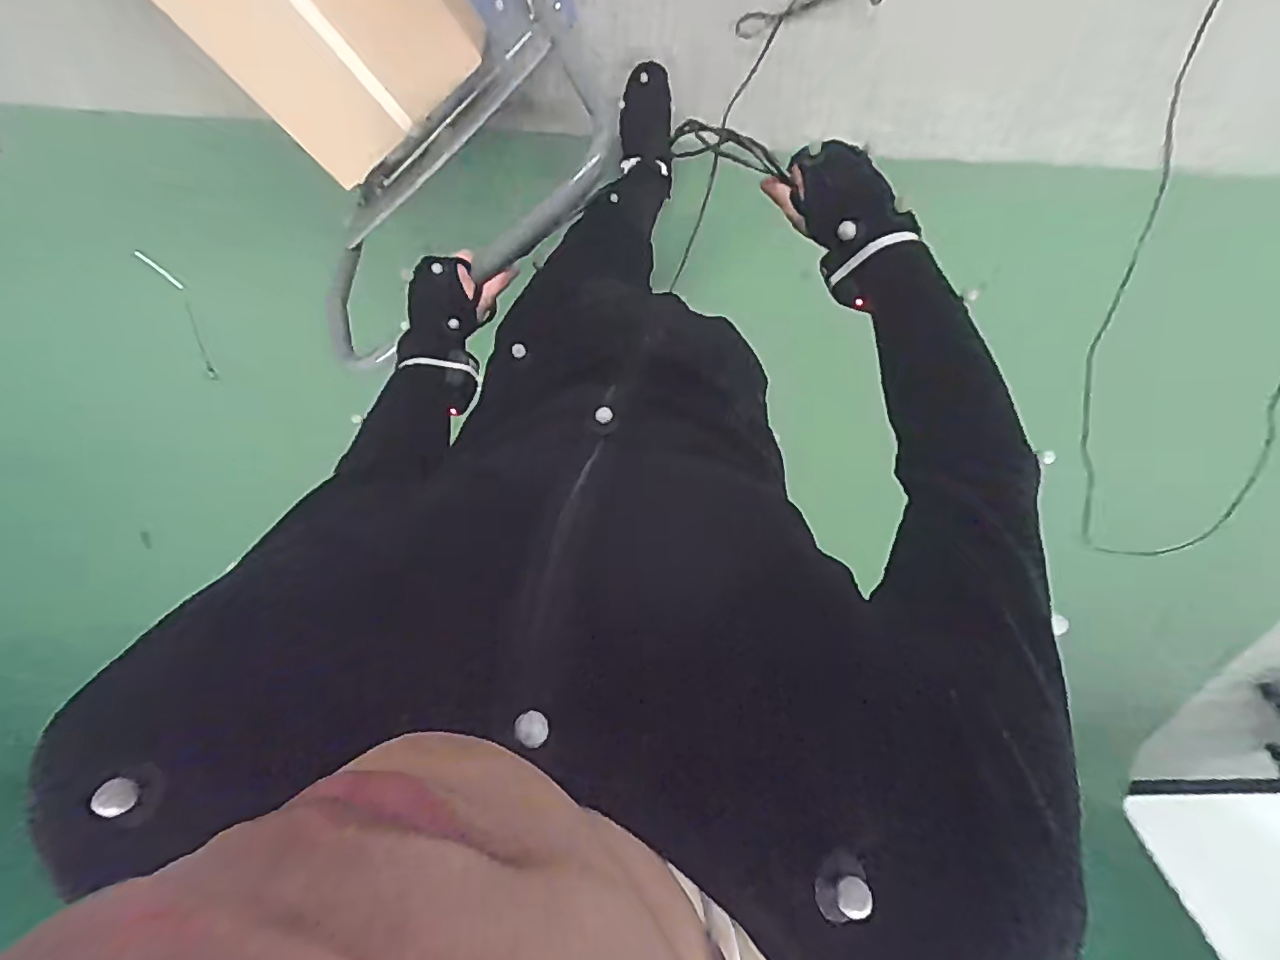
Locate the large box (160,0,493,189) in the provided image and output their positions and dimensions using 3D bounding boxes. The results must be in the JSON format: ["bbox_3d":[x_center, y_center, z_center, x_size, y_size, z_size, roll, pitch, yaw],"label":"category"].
[{"bbox_3d":[-0.488,-0.771,0.851,0.320,0.320,0.408,-30,133,17],"label":"large box"}]
